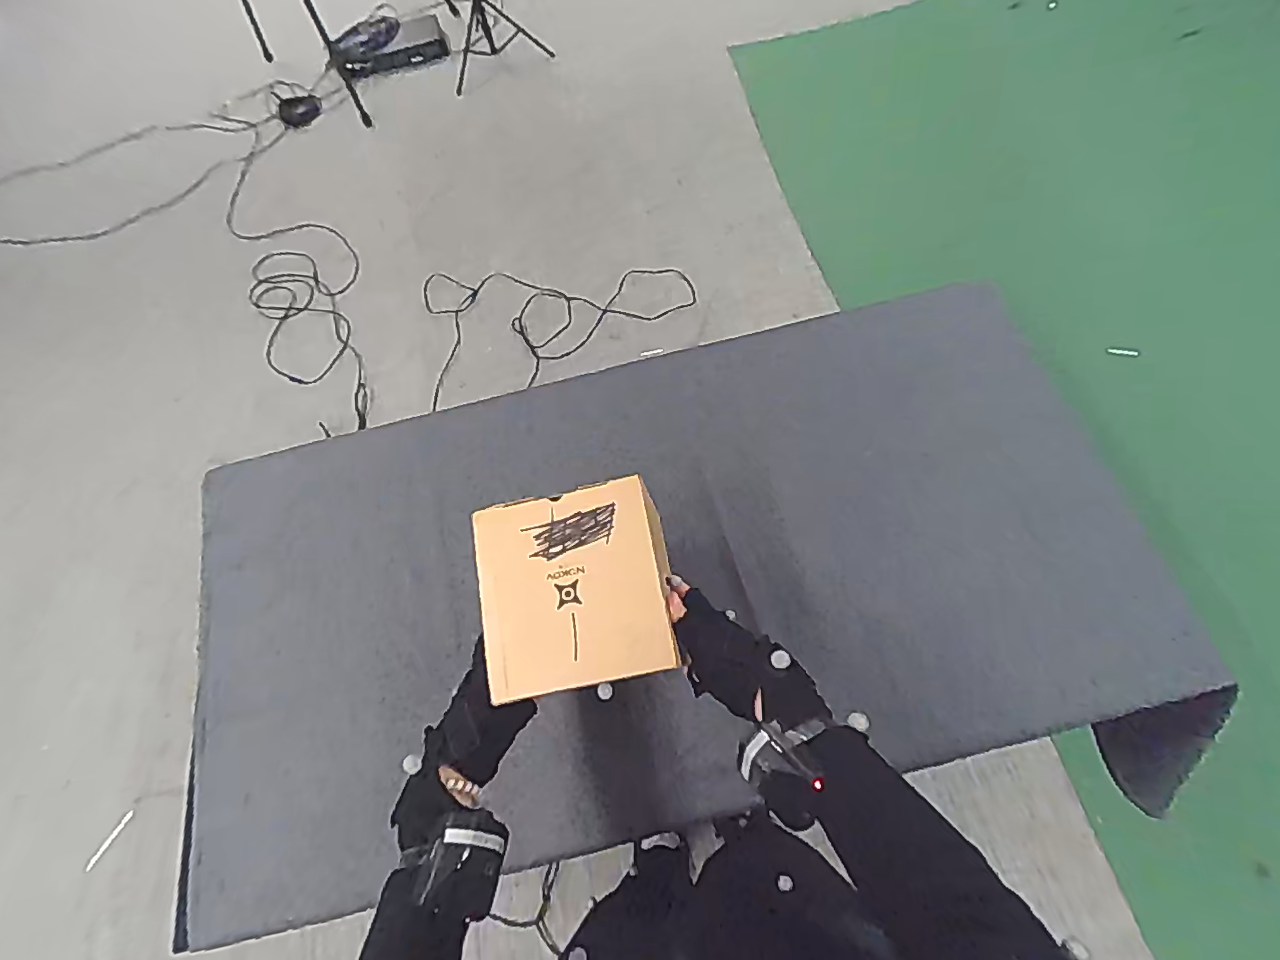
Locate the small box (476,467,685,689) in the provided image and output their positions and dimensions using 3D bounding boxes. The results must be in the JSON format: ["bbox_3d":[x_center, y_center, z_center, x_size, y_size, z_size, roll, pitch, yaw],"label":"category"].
[{"bbox_3d":[-0.052,0.107,0.557,0.168,0.176,0.179,-12,72,5],"label":"small box"}]
